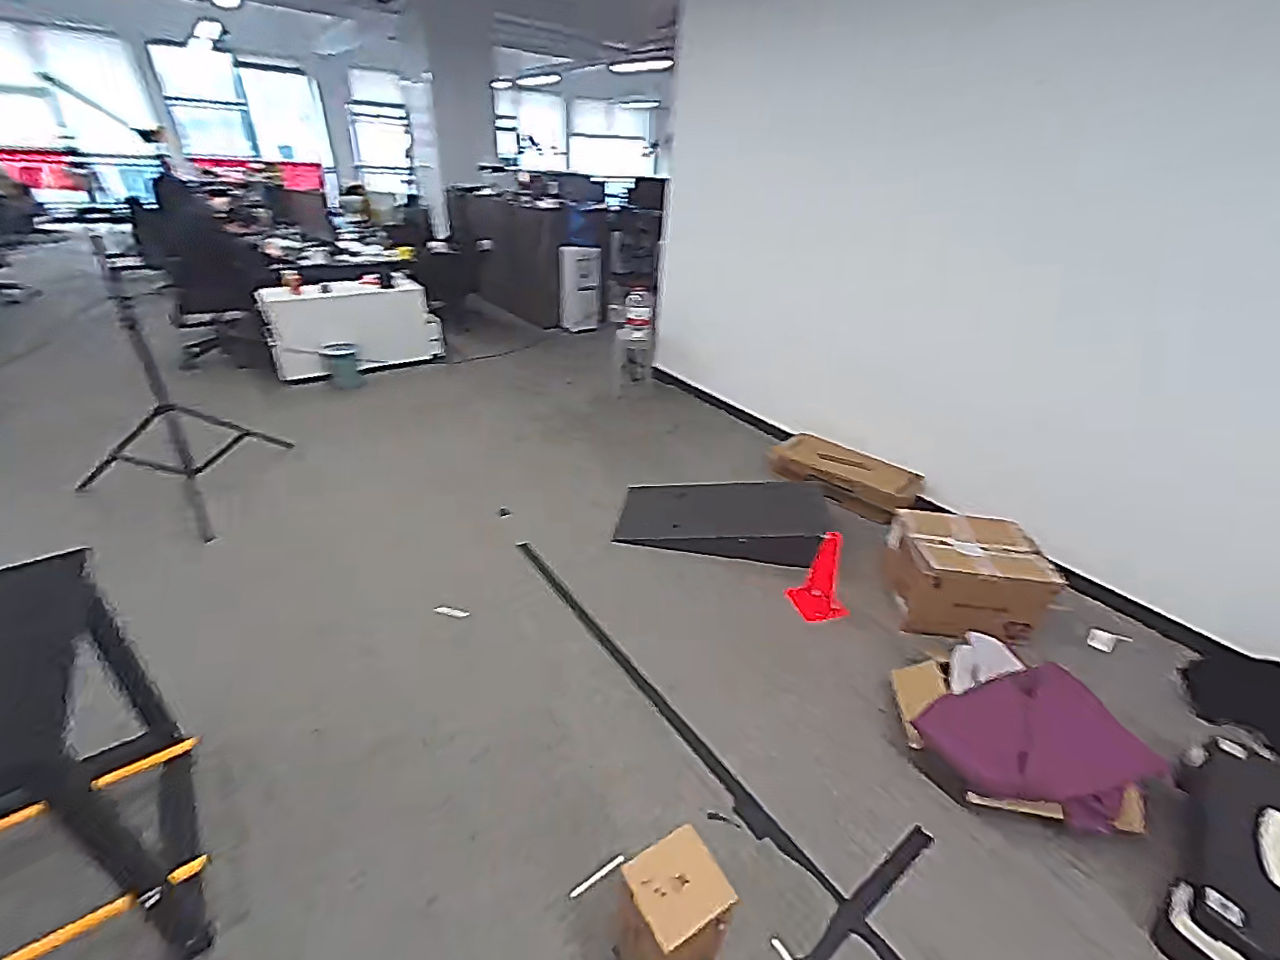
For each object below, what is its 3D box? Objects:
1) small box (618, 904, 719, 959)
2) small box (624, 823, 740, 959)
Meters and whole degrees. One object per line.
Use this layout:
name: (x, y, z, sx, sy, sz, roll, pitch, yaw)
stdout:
small box: (0.066, 1.007, 1.199, 0.179, 0.176, 0.168, -20, 38, -32)
small box: (0.079, 0.865, 1.114, 0.179, 0.176, 0.168, -16, 35, -28)
